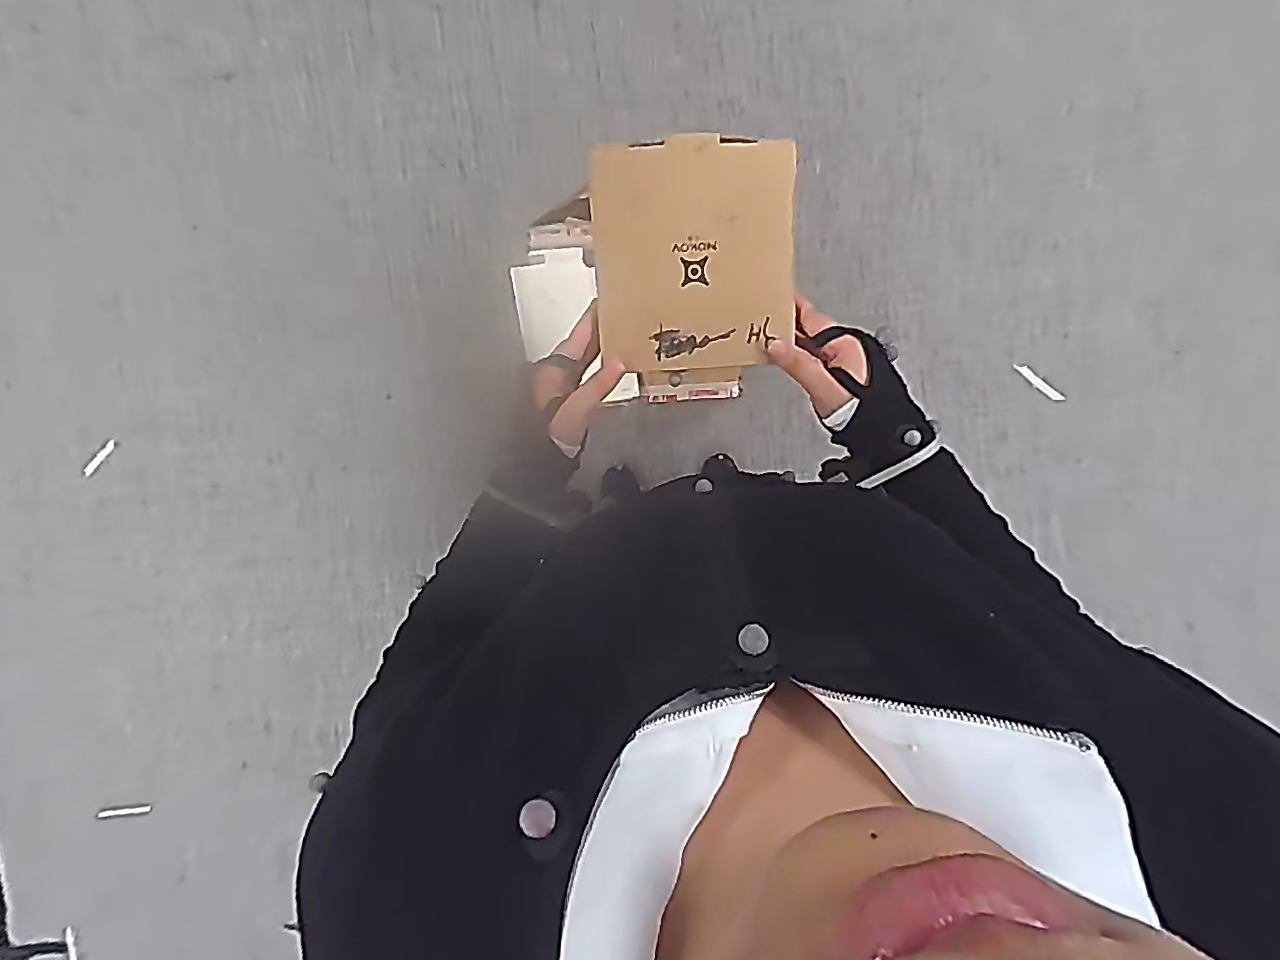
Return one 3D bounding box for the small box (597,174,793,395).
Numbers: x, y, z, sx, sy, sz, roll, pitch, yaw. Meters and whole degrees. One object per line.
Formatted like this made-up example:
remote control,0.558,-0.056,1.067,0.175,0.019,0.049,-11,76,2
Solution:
small box,0.045,-0.178,0.536,0.168,0.176,0.179,-4,102,-1
